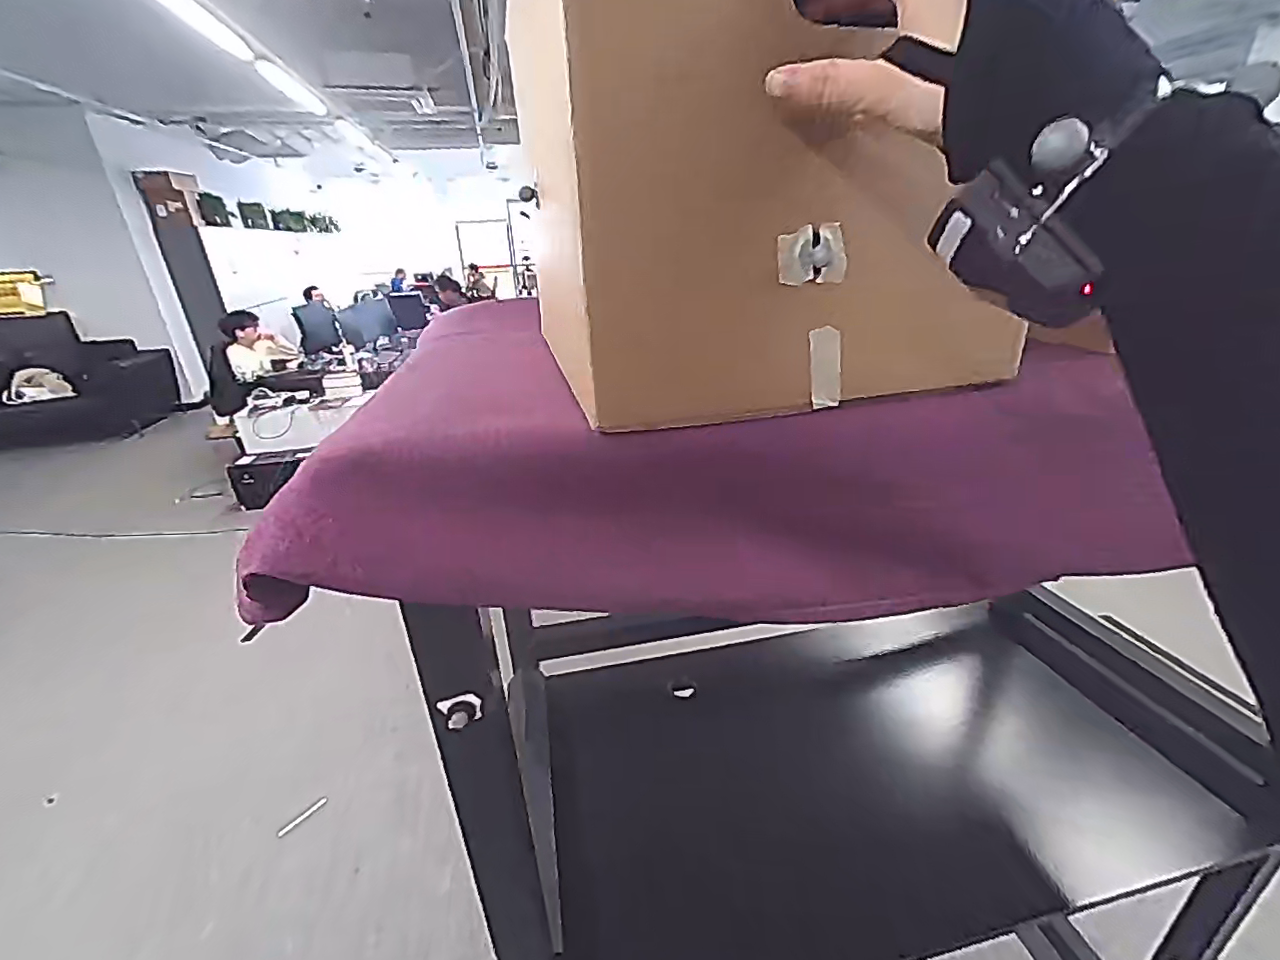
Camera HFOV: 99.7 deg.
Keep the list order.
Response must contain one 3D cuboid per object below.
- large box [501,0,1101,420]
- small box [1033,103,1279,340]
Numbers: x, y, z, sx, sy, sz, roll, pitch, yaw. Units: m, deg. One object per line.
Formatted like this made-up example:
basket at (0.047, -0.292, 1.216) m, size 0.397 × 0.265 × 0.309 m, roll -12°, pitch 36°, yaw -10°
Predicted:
large box at (0.067, -0.264, 0.463) m, size 0.320 × 0.320 × 0.408 m, roll -8°, pitch 23°, yaw -12°
small box at (0.463, -0.232, 0.504) m, size 0.179 × 0.176 × 0.168 m, roll -7°, pitch 23°, yaw -7°
